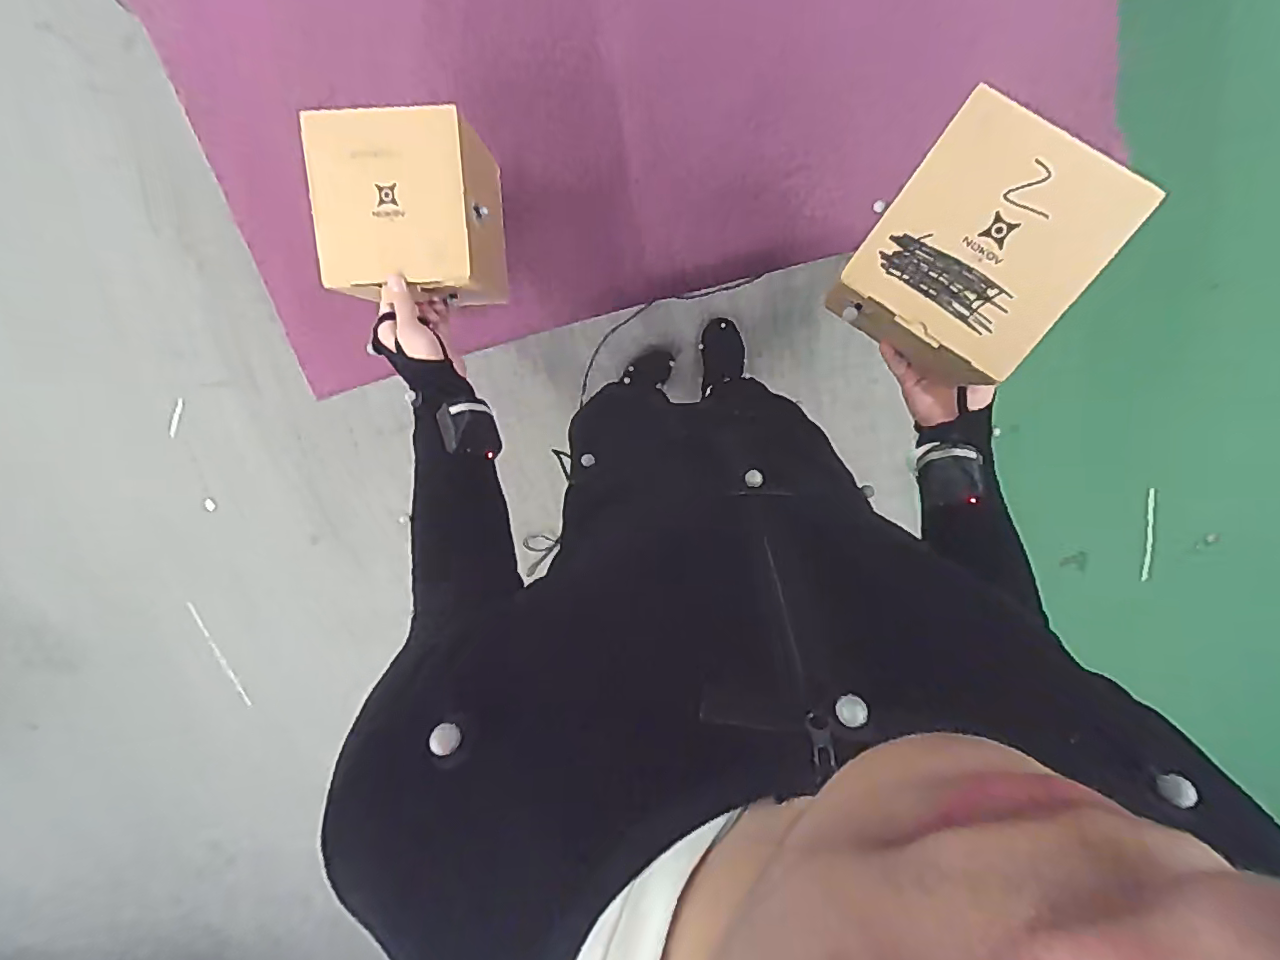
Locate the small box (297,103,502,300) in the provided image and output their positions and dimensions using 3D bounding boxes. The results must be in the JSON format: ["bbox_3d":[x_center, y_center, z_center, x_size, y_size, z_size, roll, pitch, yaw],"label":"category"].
[{"bbox_3d":[-0.268,-0.314,0.645,0.168,0.176,0.179,0,100,0],"label":"small box"}]
